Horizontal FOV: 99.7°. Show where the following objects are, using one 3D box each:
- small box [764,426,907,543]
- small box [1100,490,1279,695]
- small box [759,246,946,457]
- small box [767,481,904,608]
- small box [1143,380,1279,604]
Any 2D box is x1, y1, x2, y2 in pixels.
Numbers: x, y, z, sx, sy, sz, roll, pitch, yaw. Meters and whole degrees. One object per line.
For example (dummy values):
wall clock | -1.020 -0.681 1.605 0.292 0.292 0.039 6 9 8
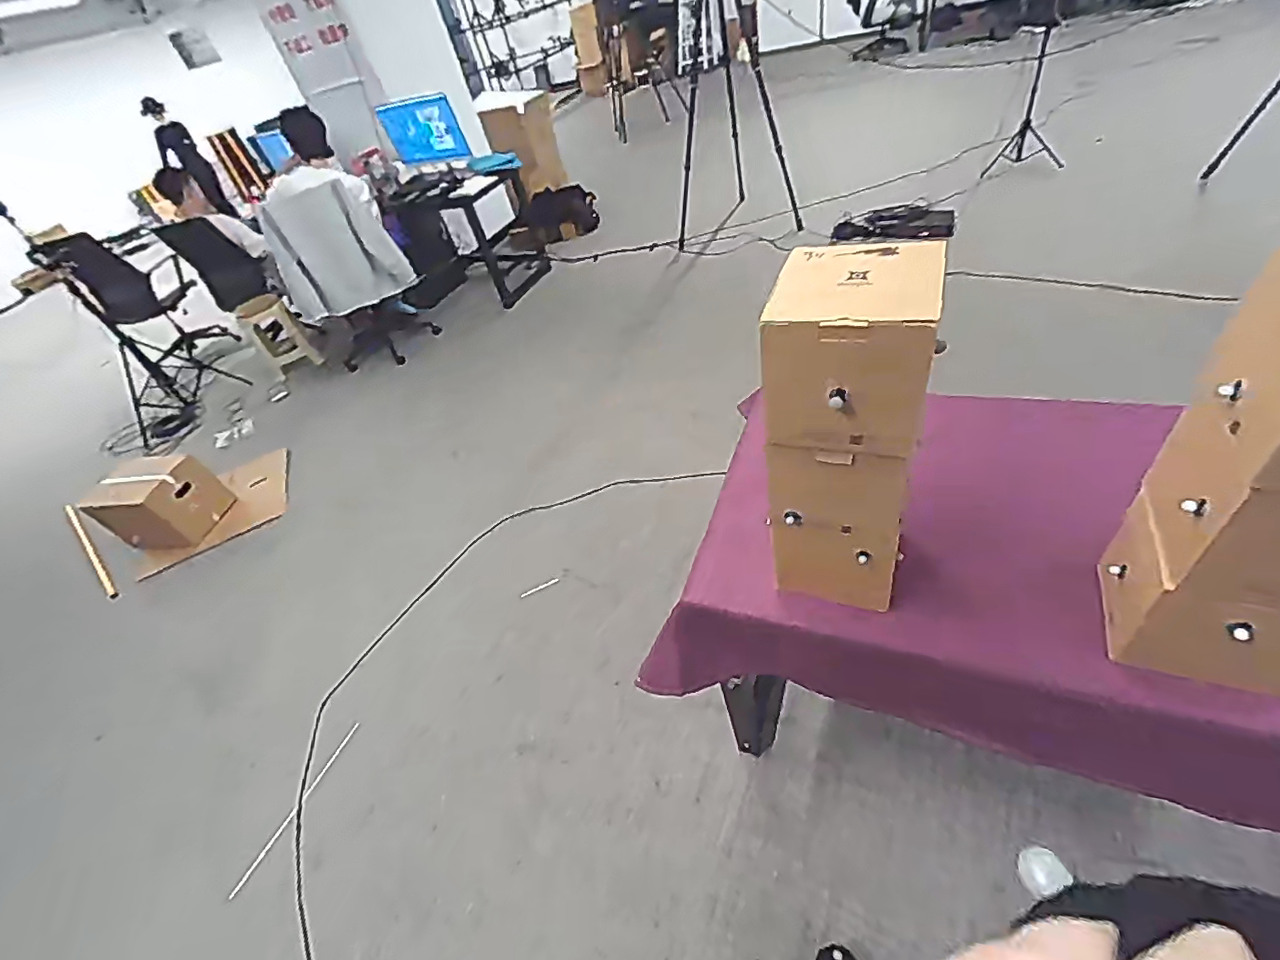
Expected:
small box | 0.275 -0.037 0.743 0.168 0.176 0.179 8 47 24
small box | 0.702 0.137 0.666 0.179 0.176 0.168 9 49 26
small box | 0.243 -0.147 0.624 0.168 0.176 0.179 9 49 24
small box | 0.308 0.080 0.854 0.179 0.176 0.168 8 48 24
small box | 0.670 0.018 0.559 0.168 0.176 0.179 8 48 24
